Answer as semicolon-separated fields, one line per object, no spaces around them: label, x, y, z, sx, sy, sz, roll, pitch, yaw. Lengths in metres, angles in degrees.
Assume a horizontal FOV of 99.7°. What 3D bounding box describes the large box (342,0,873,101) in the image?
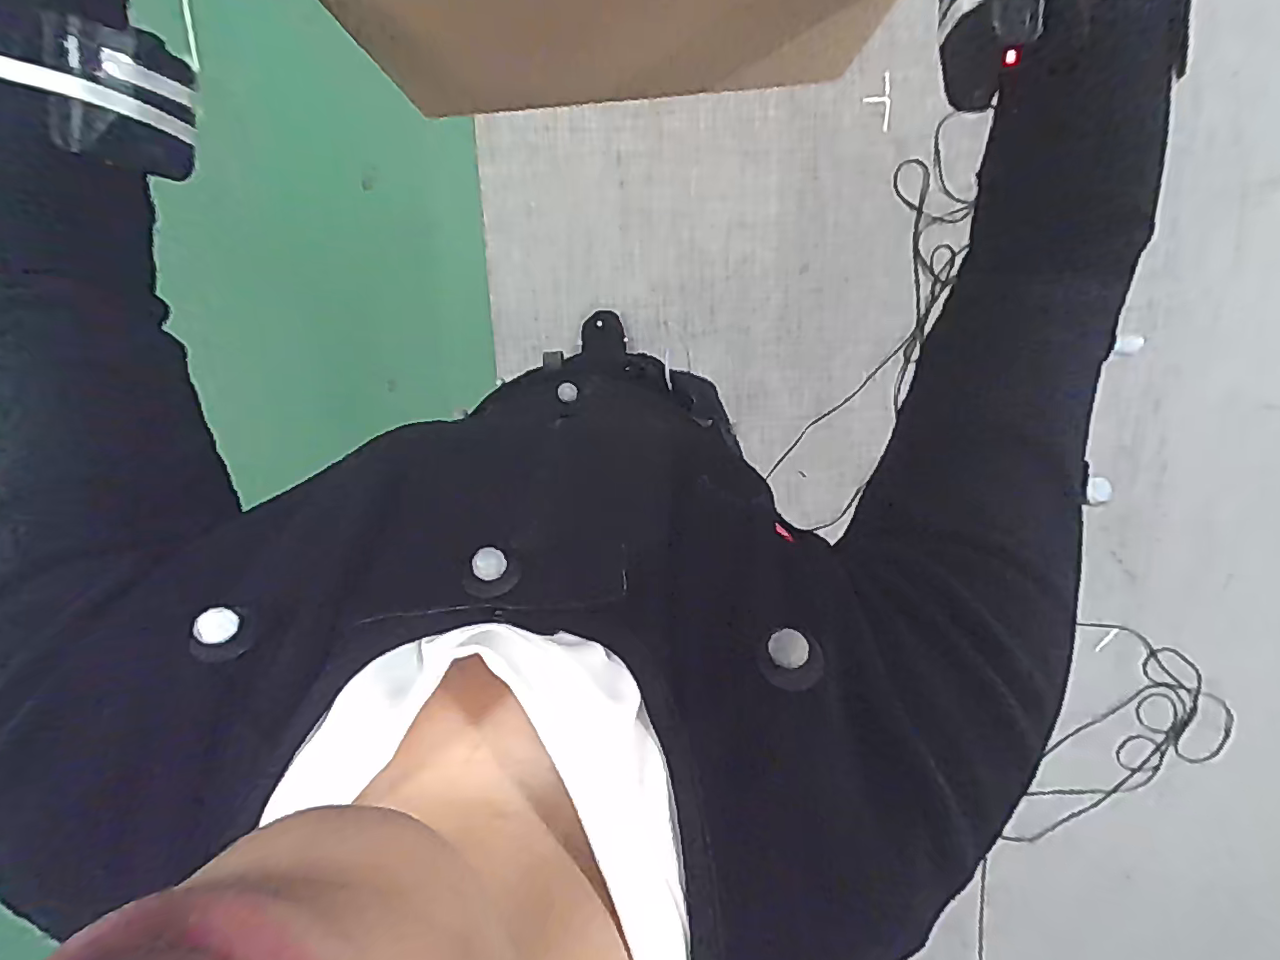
large box;-0.024;-0.489;0.332;0.408;0.320;0.320;-5;104;1
